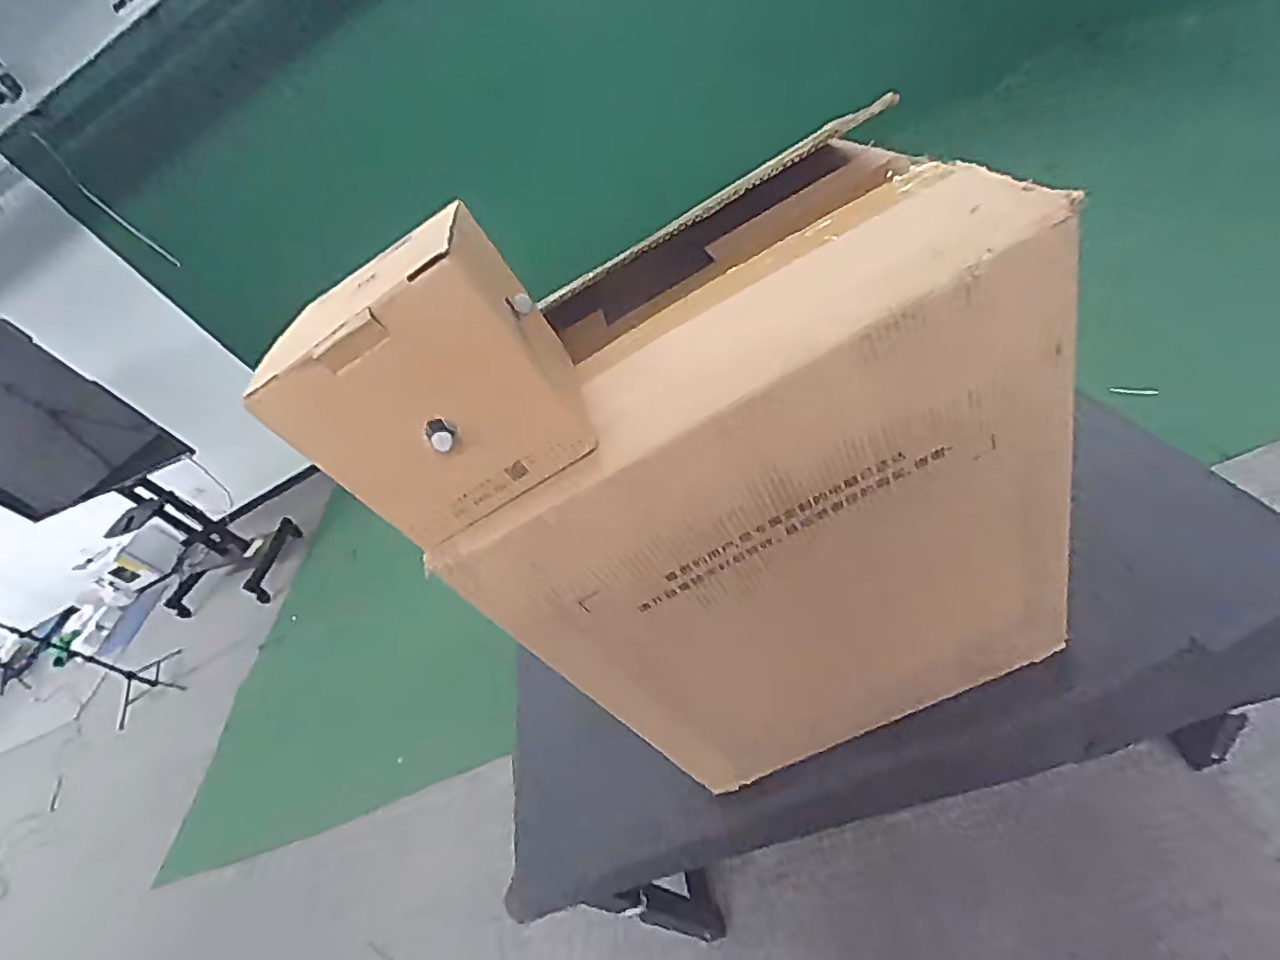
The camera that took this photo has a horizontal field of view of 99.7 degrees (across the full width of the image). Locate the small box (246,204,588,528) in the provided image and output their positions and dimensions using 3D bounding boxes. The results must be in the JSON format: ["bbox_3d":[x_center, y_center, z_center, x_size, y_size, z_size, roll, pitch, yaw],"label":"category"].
[{"bbox_3d":[-0.158,-0.084,0.439,0.168,0.176,0.179,-30,39,8],"label":"small box"}]
